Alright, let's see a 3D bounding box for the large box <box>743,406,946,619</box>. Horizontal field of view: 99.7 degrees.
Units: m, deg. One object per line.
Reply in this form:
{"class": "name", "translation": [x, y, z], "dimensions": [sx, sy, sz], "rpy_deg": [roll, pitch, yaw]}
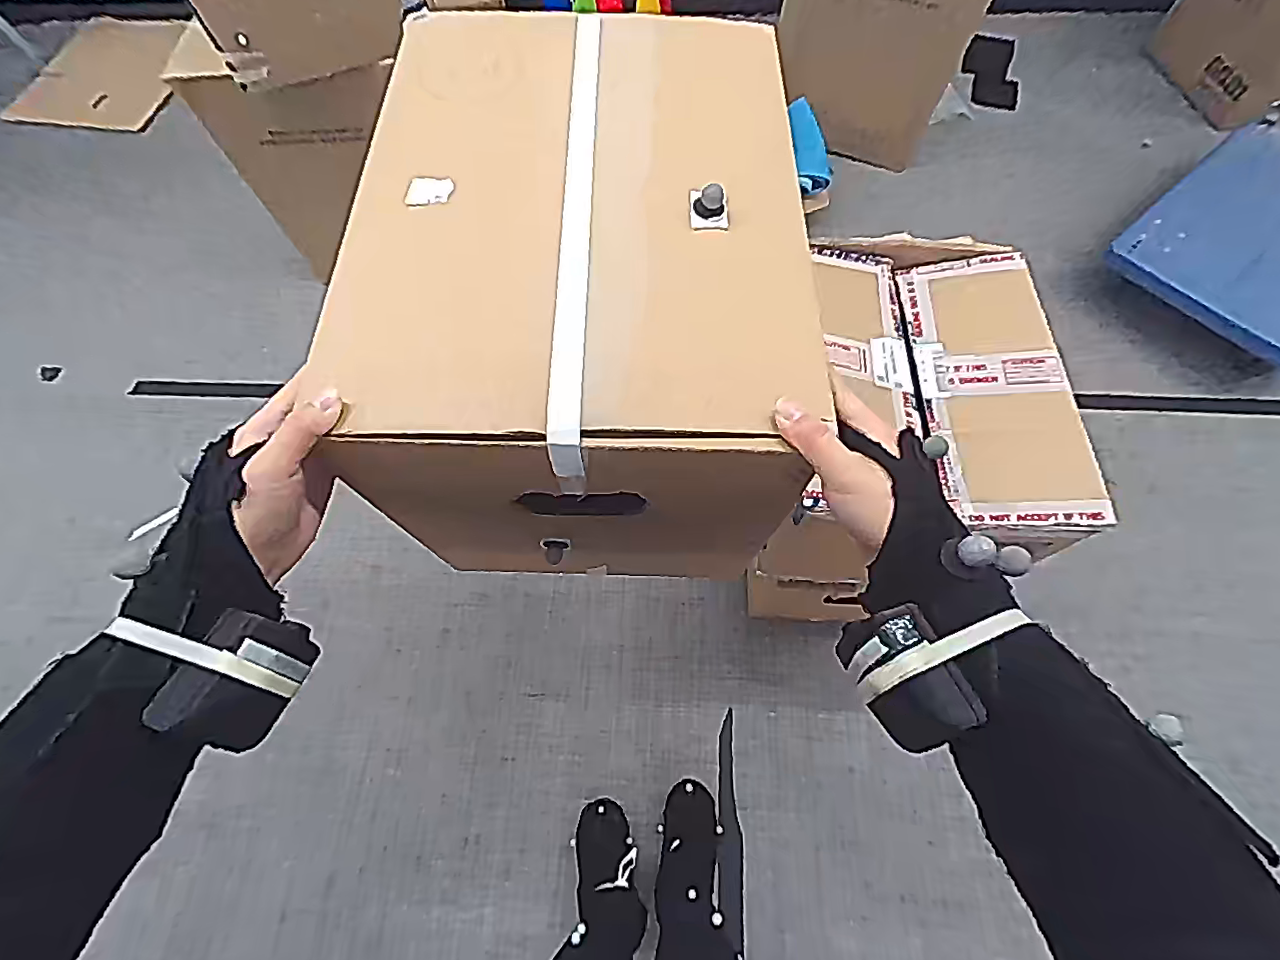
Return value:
{"class": "large box", "translation": [0.421, 0.083, 1.220], "dimensions": [0.320, 0.320, 0.408], "rpy_deg": [1, 66, 2]}
